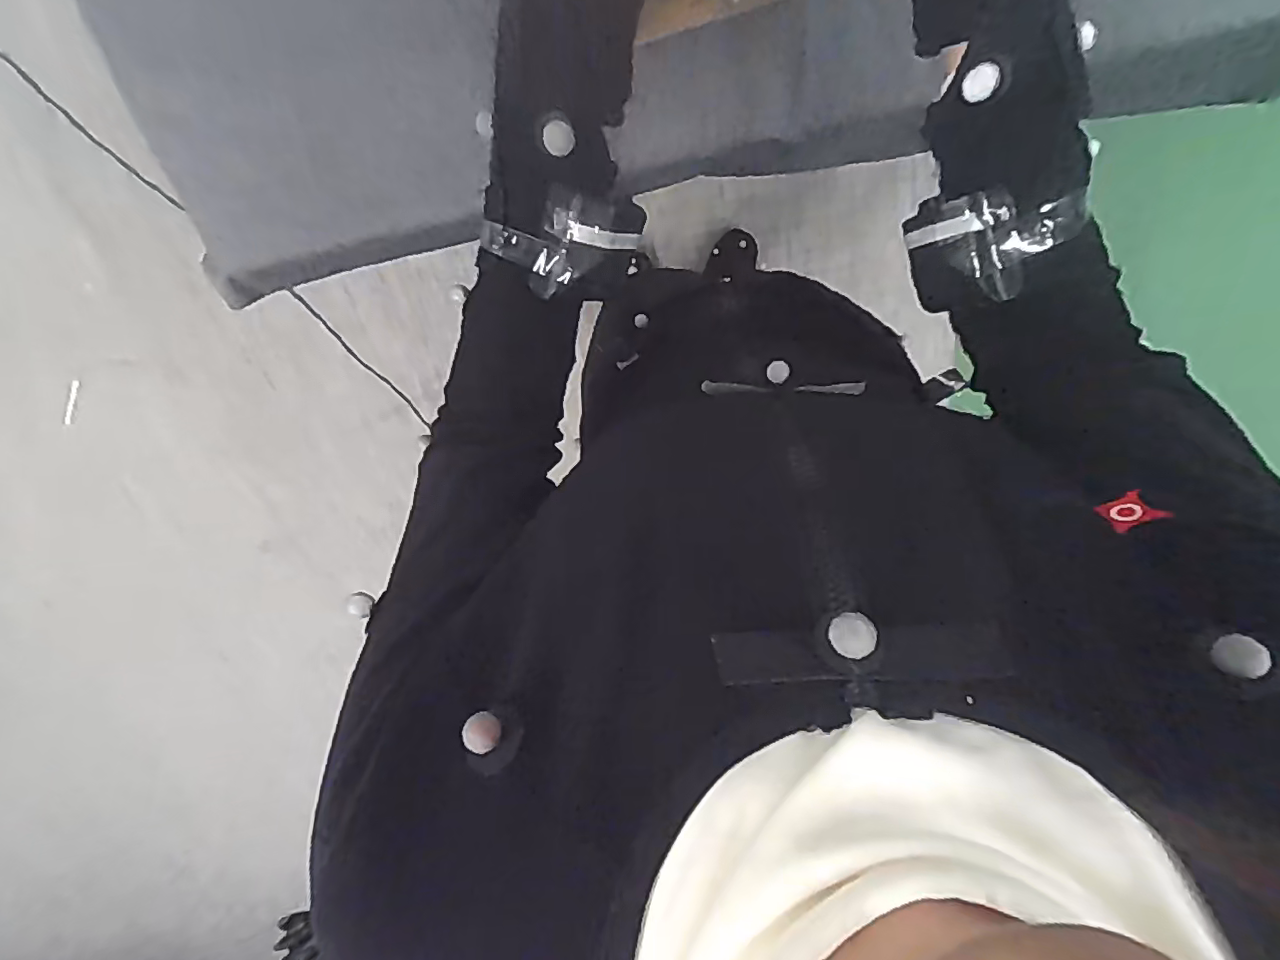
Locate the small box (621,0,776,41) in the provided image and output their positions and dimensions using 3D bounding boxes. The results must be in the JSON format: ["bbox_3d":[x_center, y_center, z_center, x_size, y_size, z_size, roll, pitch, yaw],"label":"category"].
[{"bbox_3d":[0.059,-0.468,0.400,0.179,0.176,0.168,-13,115,6],"label":"small box"}]
